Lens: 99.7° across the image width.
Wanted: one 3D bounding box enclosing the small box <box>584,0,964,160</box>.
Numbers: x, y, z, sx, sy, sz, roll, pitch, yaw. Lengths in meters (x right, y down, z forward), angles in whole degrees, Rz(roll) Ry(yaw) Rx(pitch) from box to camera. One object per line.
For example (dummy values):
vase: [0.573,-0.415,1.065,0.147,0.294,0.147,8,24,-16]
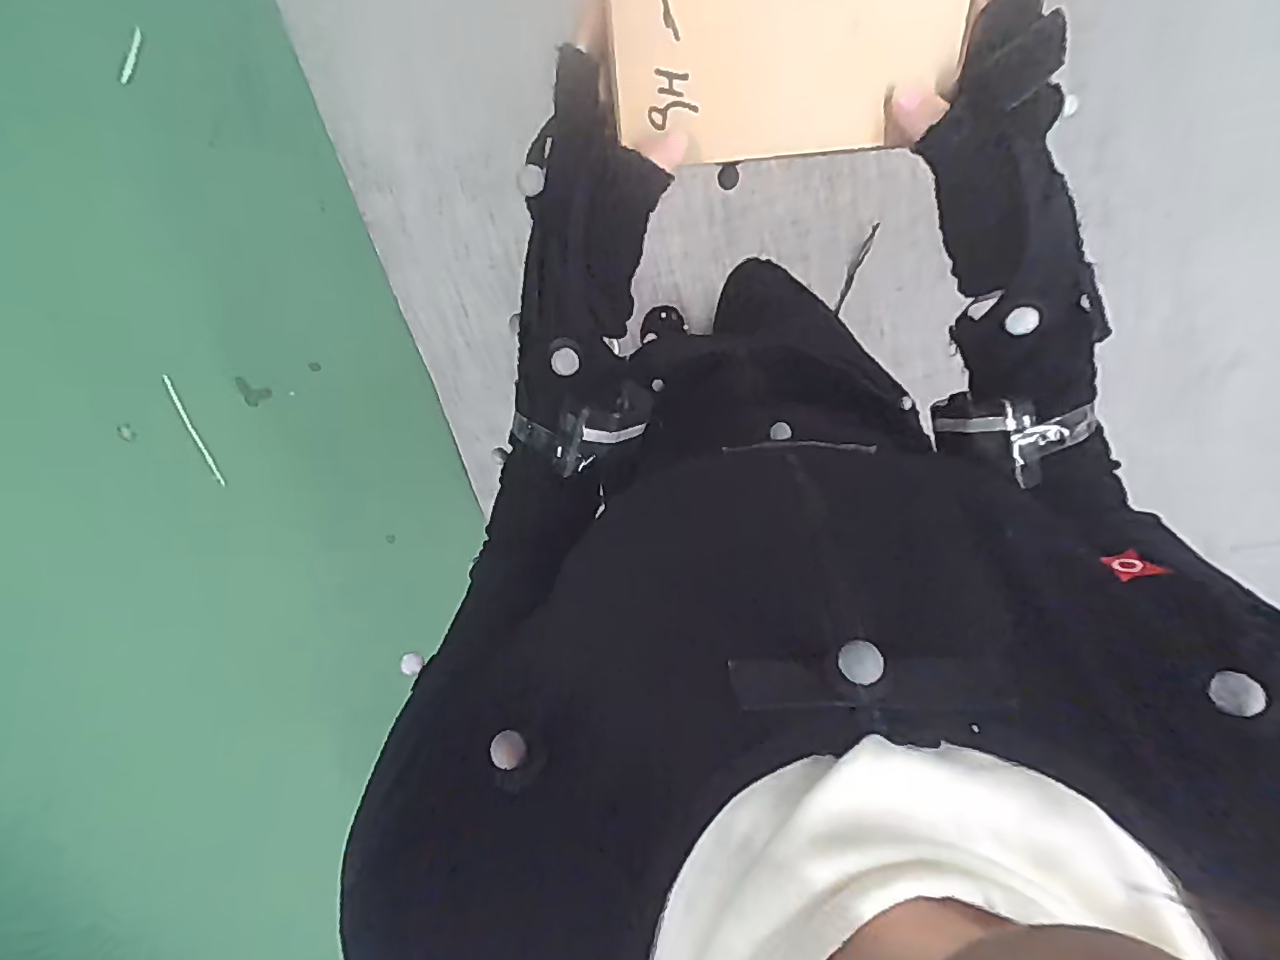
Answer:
small box: [0.059,-0.284,0.310,0.179,0.176,0.168,-7,120,-4]
